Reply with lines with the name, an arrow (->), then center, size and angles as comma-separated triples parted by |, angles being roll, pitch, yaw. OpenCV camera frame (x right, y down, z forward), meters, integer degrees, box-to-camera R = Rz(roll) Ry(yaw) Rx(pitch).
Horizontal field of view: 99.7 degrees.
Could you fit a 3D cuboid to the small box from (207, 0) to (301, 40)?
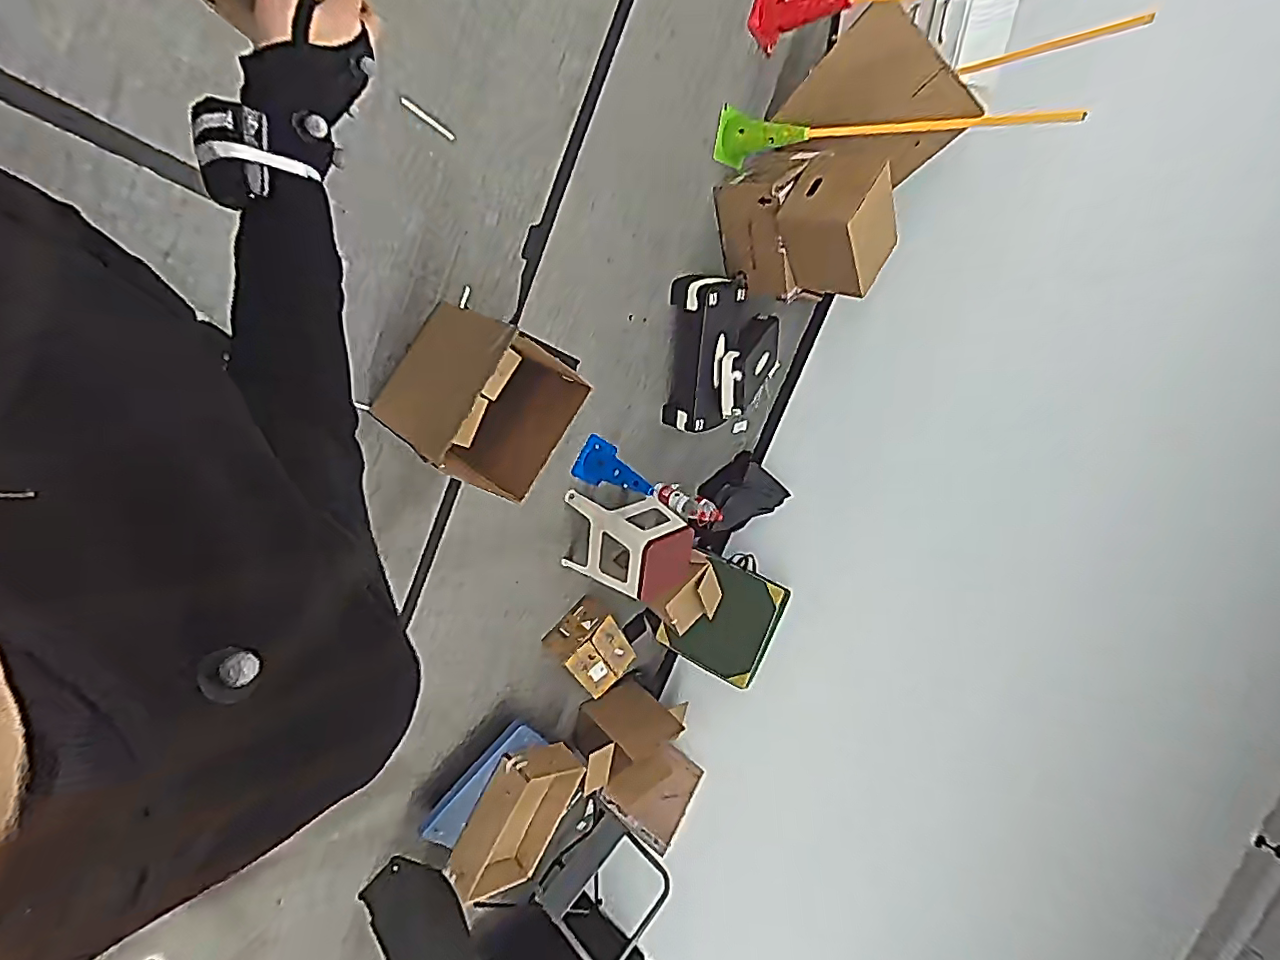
small box -> -0.332, -0.506, 0.428 | 0.168, 0.176, 0.179 | 28, 85, -48
